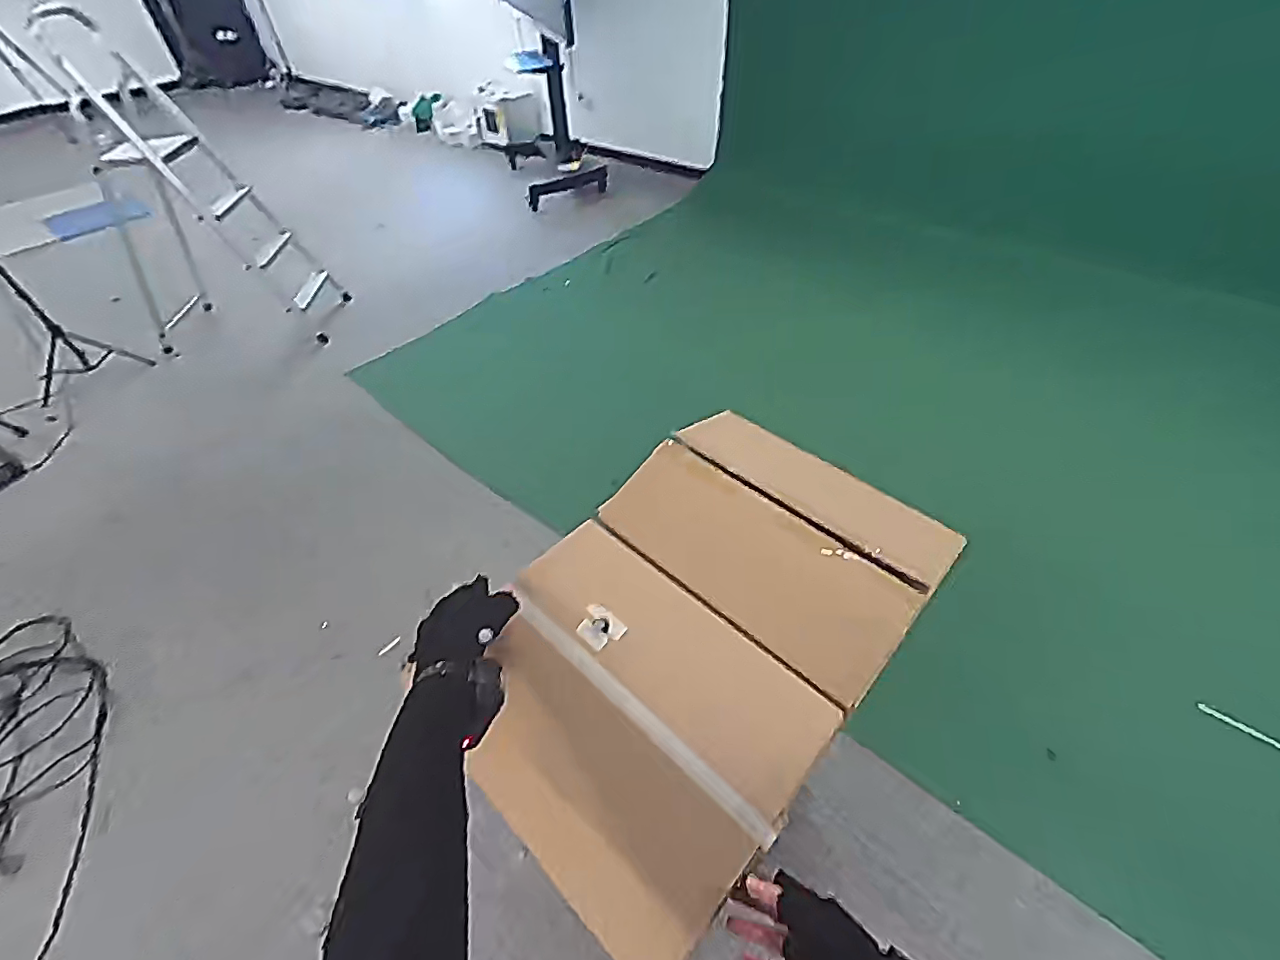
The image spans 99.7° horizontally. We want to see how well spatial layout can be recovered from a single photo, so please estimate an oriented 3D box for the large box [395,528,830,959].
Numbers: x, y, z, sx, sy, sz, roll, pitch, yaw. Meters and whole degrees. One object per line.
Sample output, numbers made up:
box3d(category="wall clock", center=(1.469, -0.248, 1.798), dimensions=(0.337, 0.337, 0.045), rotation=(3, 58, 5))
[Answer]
box3d(category="large box", center=(-0.030, 0.344, 0.711), dimensions=(0.408, 0.320, 0.320), rotation=(33, 56, 30))
